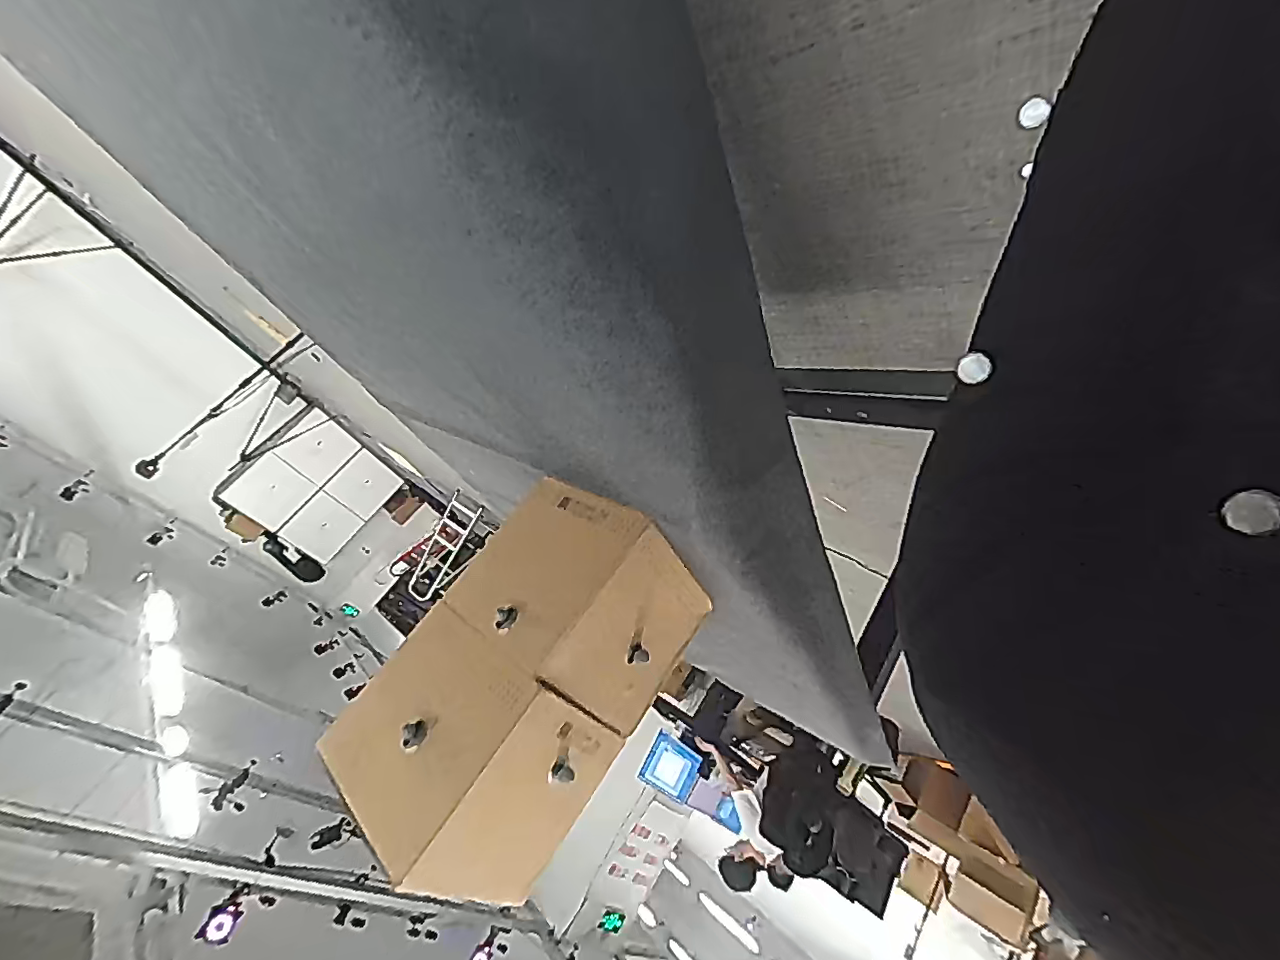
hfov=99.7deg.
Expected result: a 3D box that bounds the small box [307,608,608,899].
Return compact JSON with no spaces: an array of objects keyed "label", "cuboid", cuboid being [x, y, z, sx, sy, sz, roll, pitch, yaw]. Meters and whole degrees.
[{"label":"small box","cuboid":[-0.163,0.247,0.517,0.179,0.176,0.168,20,154,40]}]

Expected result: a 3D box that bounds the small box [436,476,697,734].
[{"label":"small box","cuboid":[-0.066,0.124,0.570,0.168,0.176,0.179,19,153,43]}]
